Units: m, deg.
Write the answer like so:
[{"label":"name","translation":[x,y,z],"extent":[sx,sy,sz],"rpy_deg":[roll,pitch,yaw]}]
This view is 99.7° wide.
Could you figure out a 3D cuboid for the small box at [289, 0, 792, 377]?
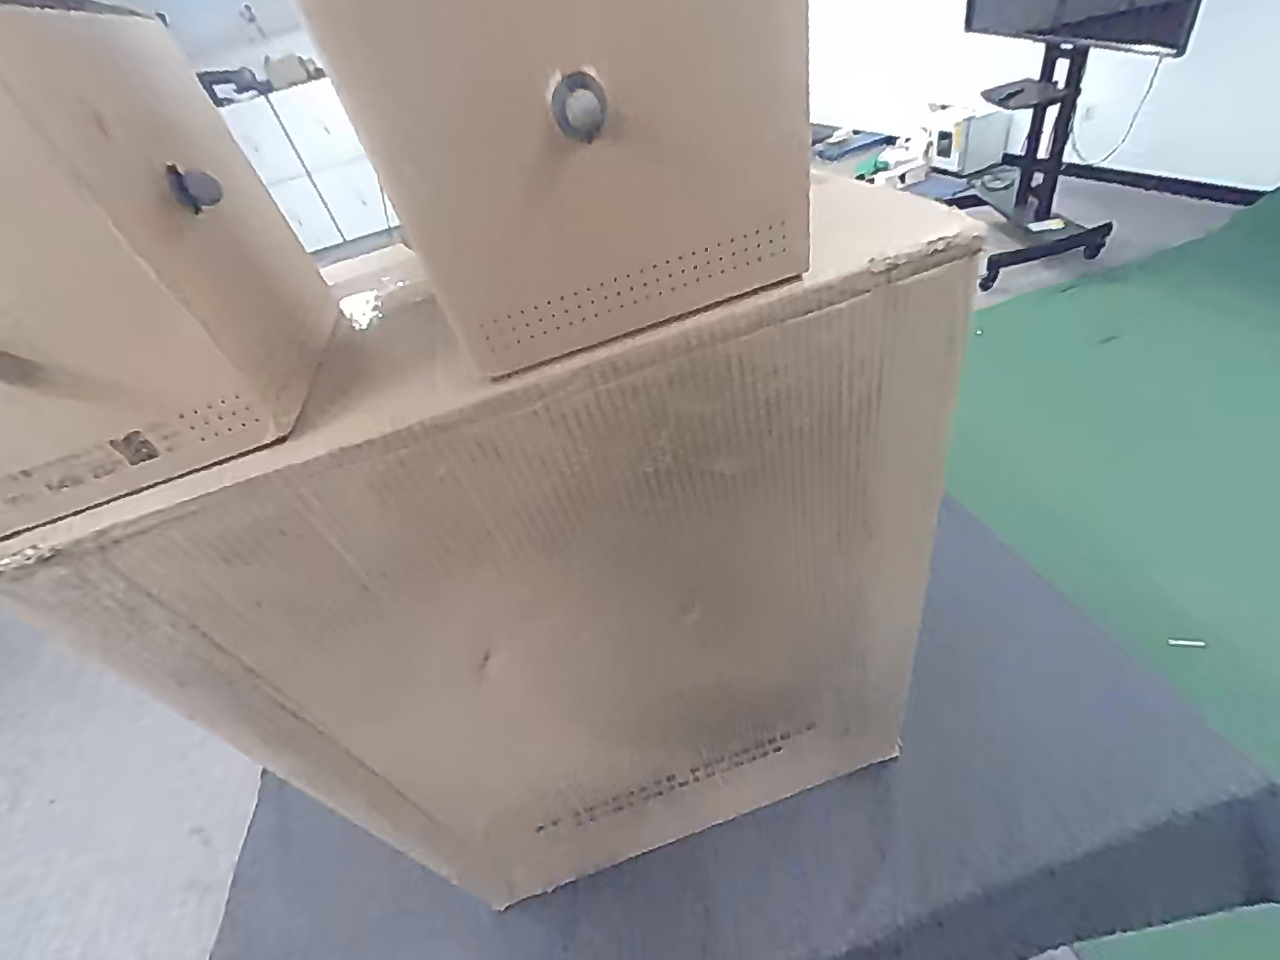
[{"label":"small box","translation":[-0.035,-0.180,0.274],"extent":[0.179,0.176,0.168],"rpy_deg":[-19,40,-3]}]

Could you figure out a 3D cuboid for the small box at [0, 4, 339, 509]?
[{"label":"small box","translation":[-0.285,-0.106,0.274],"extent":[0.168,0.176,0.179],"rpy_deg":[-19,41,-3]}]
